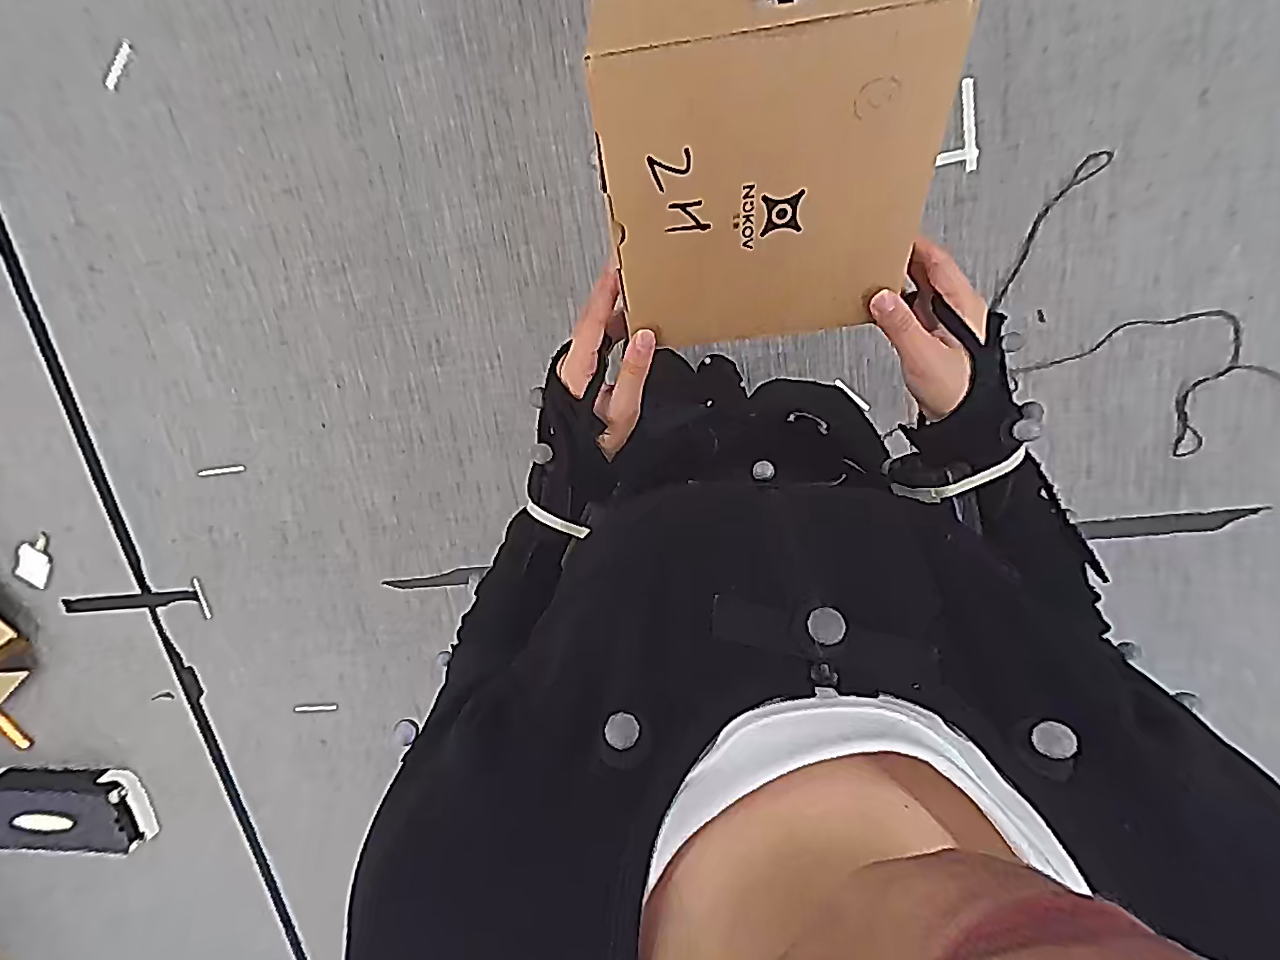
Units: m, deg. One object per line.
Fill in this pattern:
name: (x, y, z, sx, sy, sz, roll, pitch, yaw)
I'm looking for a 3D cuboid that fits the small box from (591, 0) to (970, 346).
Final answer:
small box: (0.068, -0.214, 0.356, 0.179, 0.176, 0.168, -6, 140, 5)
